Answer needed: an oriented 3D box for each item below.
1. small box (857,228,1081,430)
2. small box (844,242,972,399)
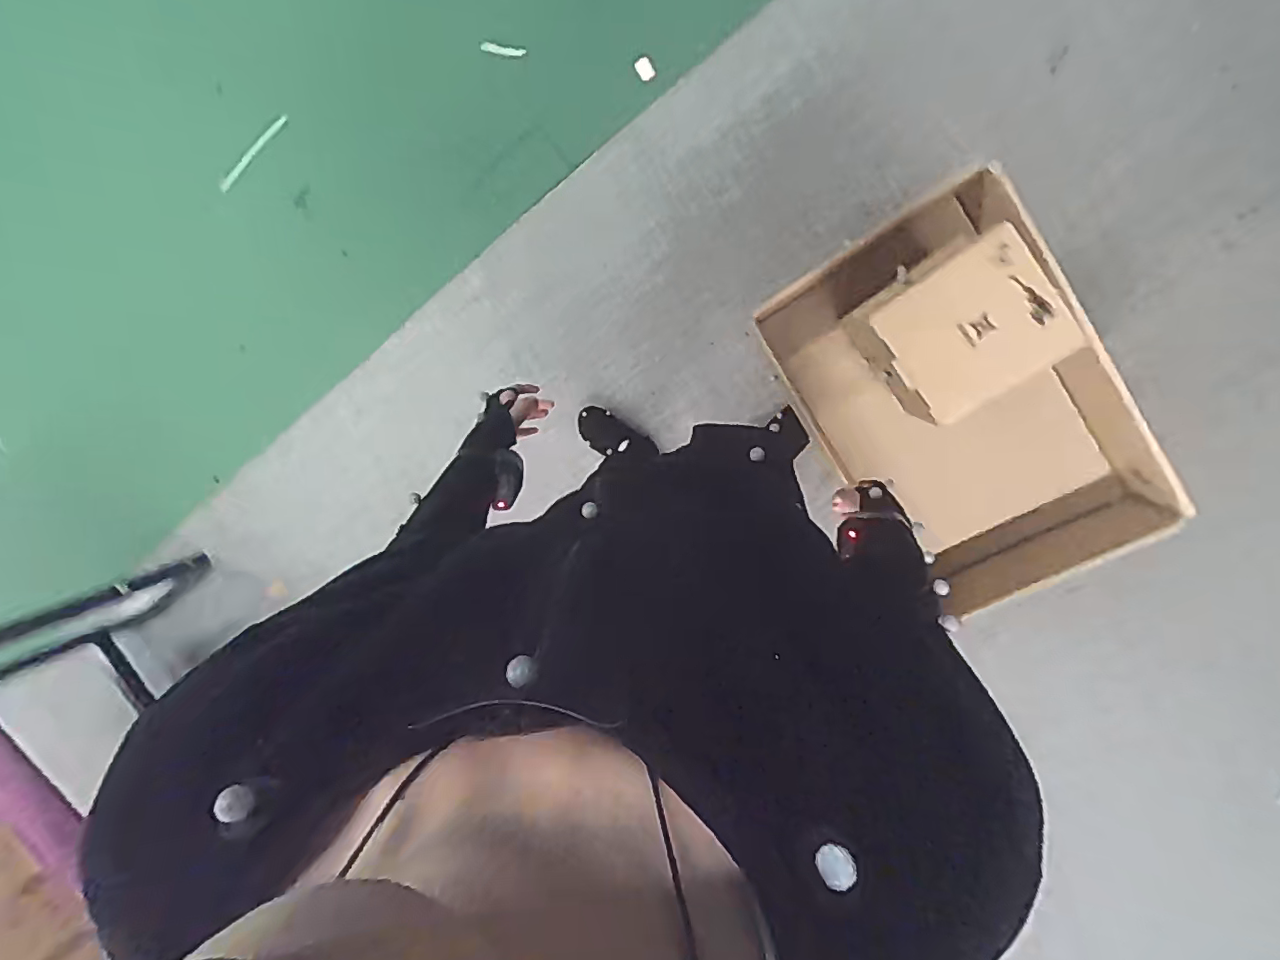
[{"bbox_3d":[0.402,-0.187,0.702,0.179,0.176,0.168,-33,94,19],"label":"small box"},{"bbox_3d":[0.447,-0.239,0.852,0.179,0.176,0.168,-34,93,19],"label":"small box"}]
